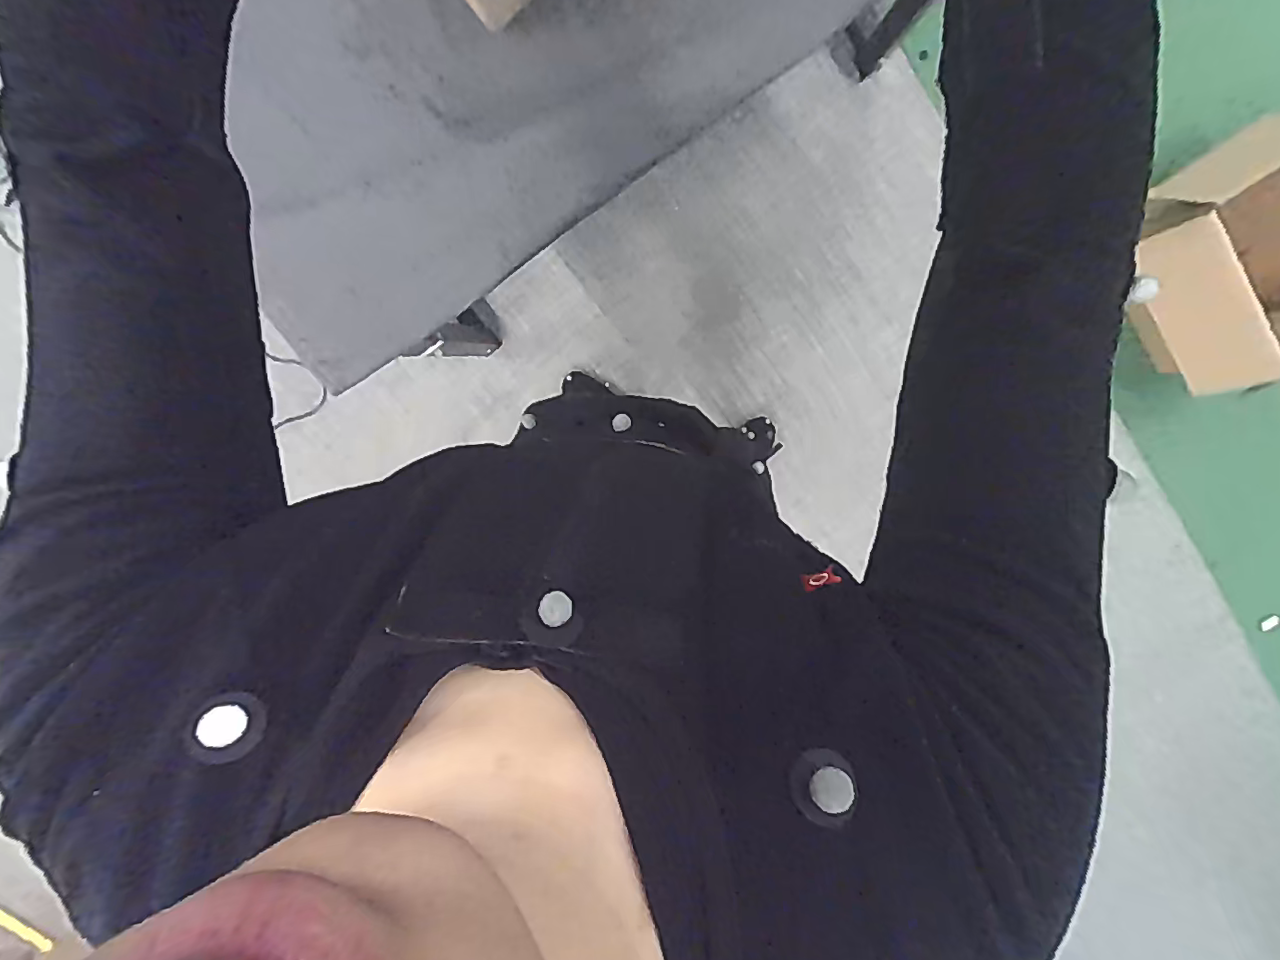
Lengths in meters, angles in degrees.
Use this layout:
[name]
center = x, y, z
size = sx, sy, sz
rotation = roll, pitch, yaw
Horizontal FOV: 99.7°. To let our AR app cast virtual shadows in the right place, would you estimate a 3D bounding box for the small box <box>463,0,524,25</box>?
[small box]
center = -0.164, -0.605, 0.512
size = 0.168, 0.176, 0.179
rotation = -39, 100, 8
